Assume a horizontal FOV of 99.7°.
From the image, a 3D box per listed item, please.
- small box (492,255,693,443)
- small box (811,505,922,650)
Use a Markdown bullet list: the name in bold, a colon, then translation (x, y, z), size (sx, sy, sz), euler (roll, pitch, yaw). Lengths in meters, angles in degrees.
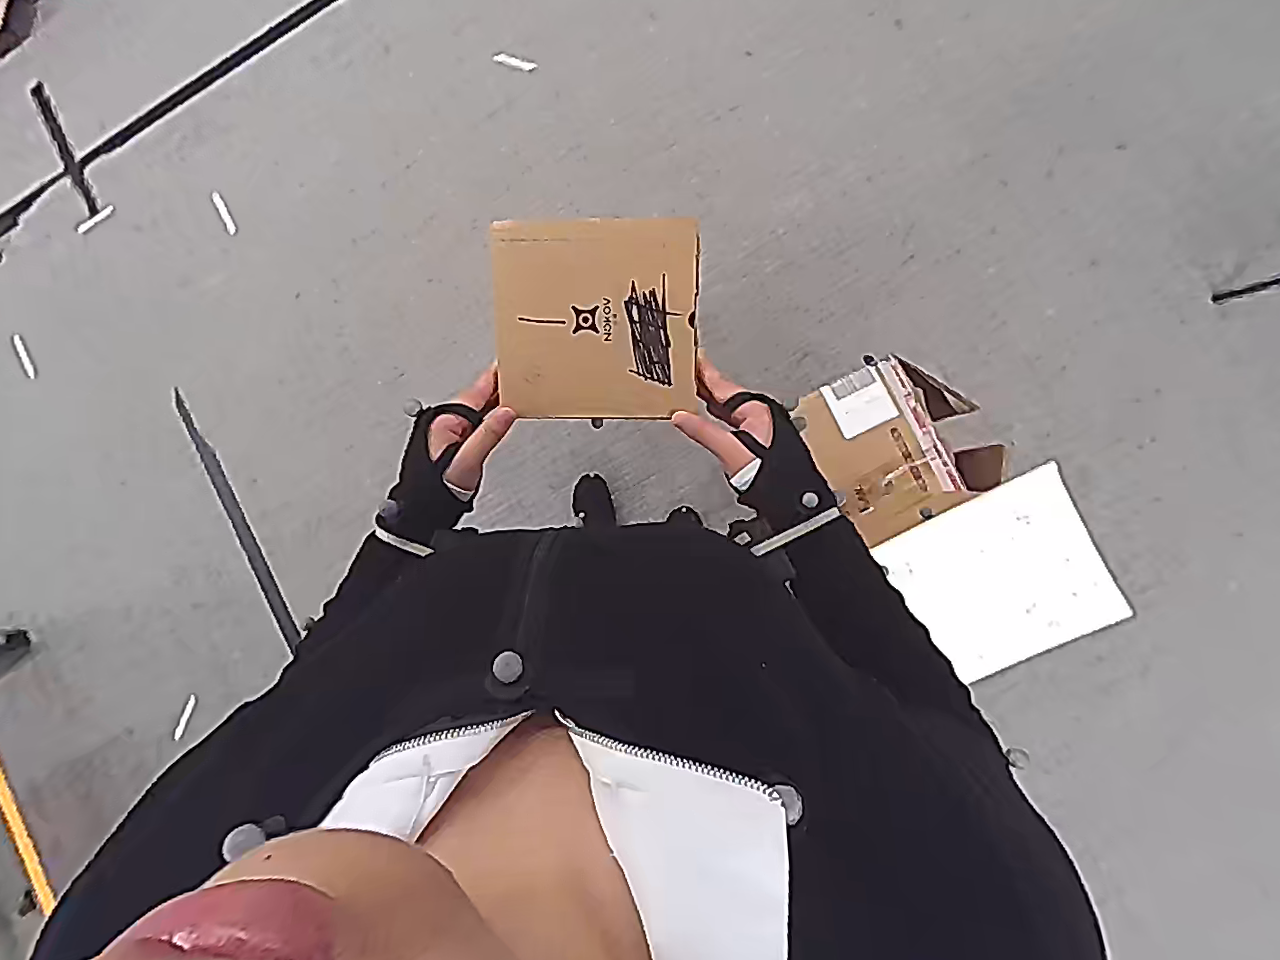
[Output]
- **small box**: translation (-0.040, -0.130, 0.558), size (0.179, 0.176, 0.168), euler (0, 101, 2)
- **small box**: translation (0.419, 0.154, 0.923), size (0.168, 0.176, 0.179), euler (-31, 86, 4)
